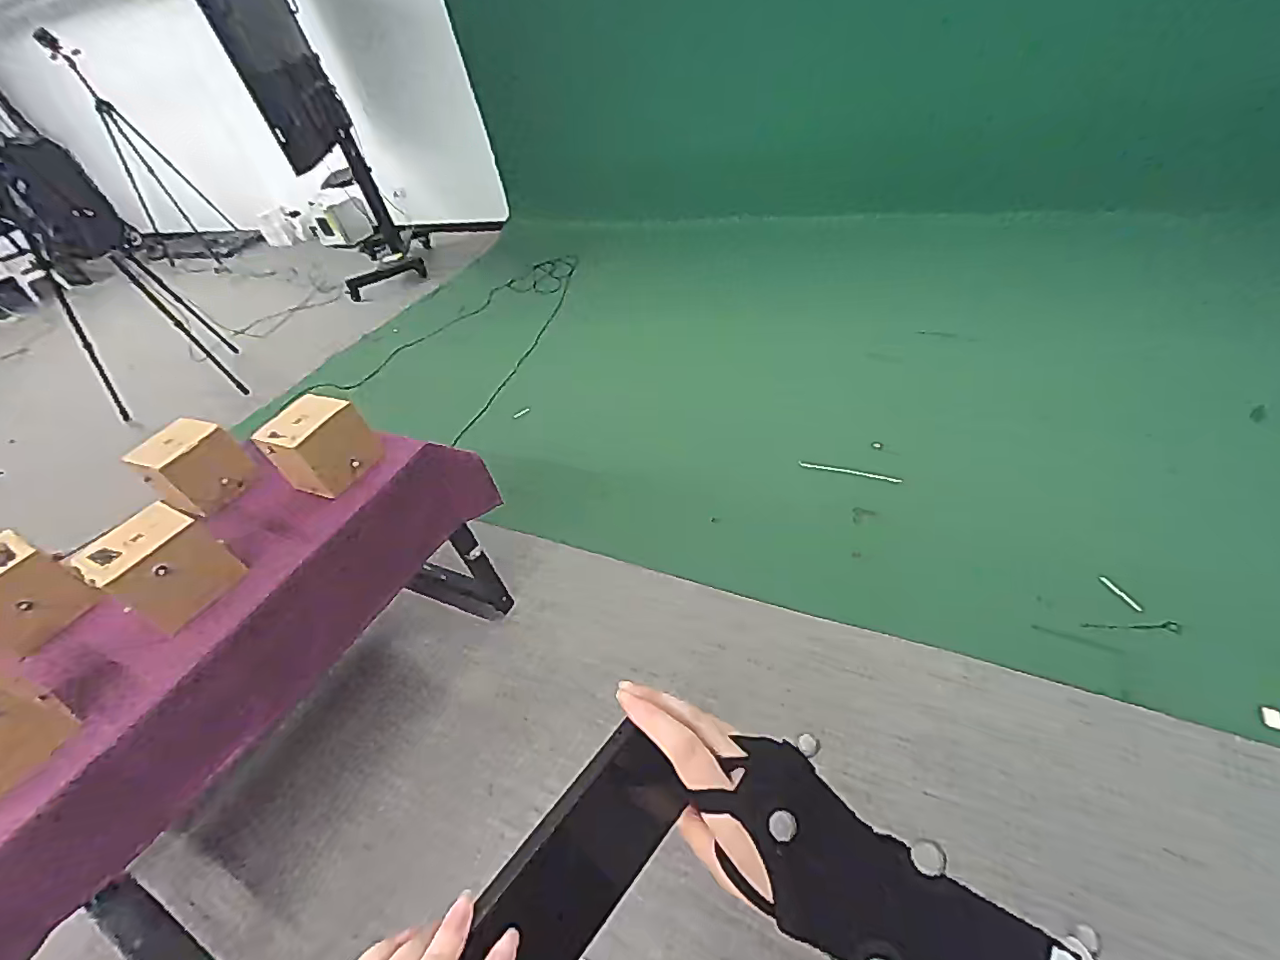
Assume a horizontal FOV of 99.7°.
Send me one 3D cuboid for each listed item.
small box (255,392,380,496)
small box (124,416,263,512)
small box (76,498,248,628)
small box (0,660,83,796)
[{"bbox_3d":[-0.775,-0.090,1.325,0.168,0.176,0.179,11,48,25],"label":"small box"},{"bbox_3d":[-1.115,-0.040,1.363,0.179,0.176,0.168,10,49,24],"label":"small box"},{"bbox_3d":[-0.964,0.171,1.105,0.168,0.176,0.179,15,49,28],"label":"small box"},{"bbox_3d":[-1.105,0.413,0.891,0.168,0.176,0.179,13,48,27],"label":"small box"}]
